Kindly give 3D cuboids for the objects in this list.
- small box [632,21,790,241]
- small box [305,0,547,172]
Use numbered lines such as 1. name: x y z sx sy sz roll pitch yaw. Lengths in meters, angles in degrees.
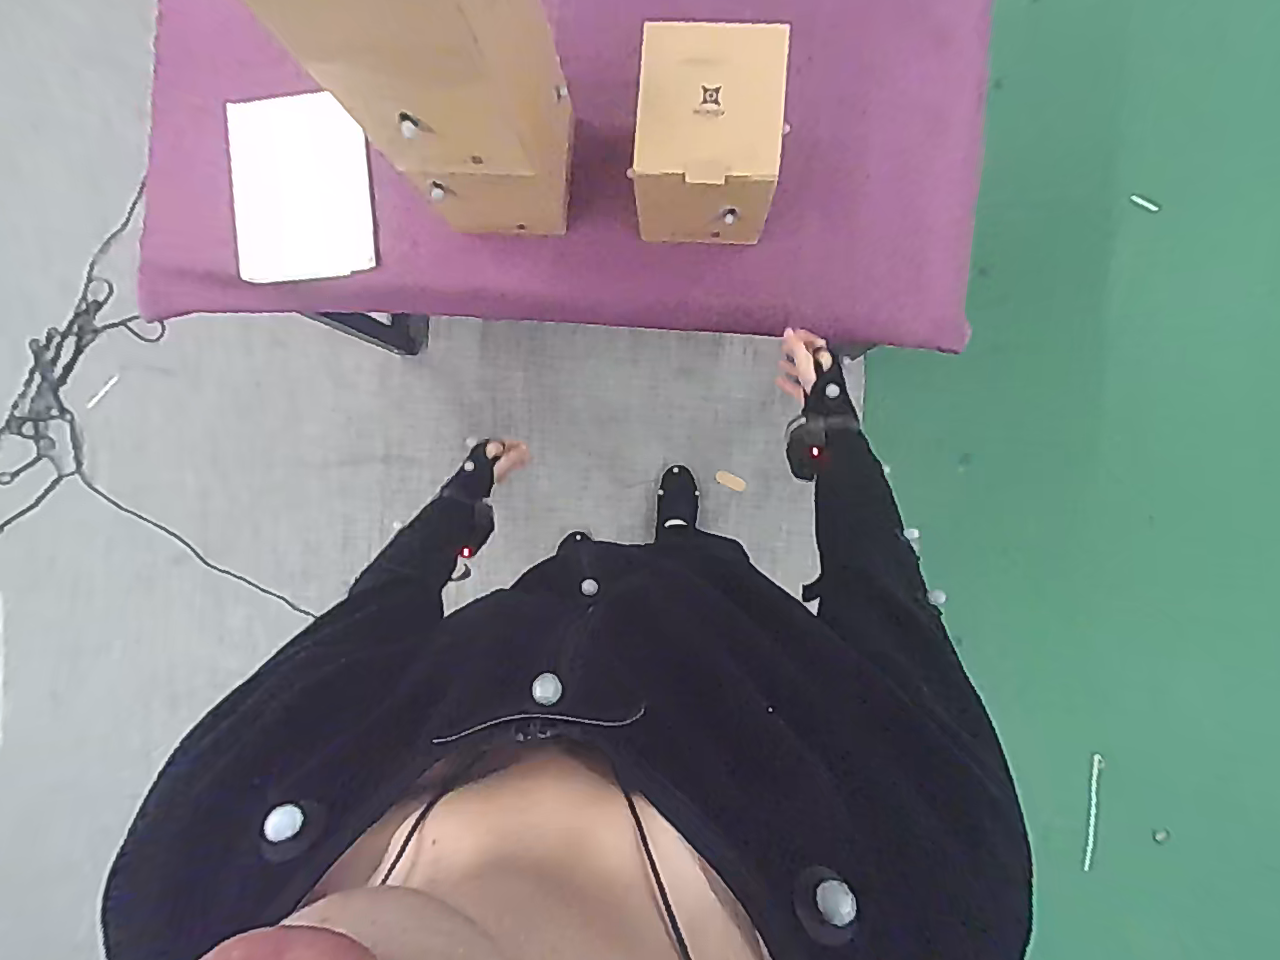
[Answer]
1. small box: 0.084 -0.425 0.687 0.168 0.176 0.179 5 89 3
2. small box: -0.196 -0.438 0.540 0.168 0.176 0.179 5 89 4
